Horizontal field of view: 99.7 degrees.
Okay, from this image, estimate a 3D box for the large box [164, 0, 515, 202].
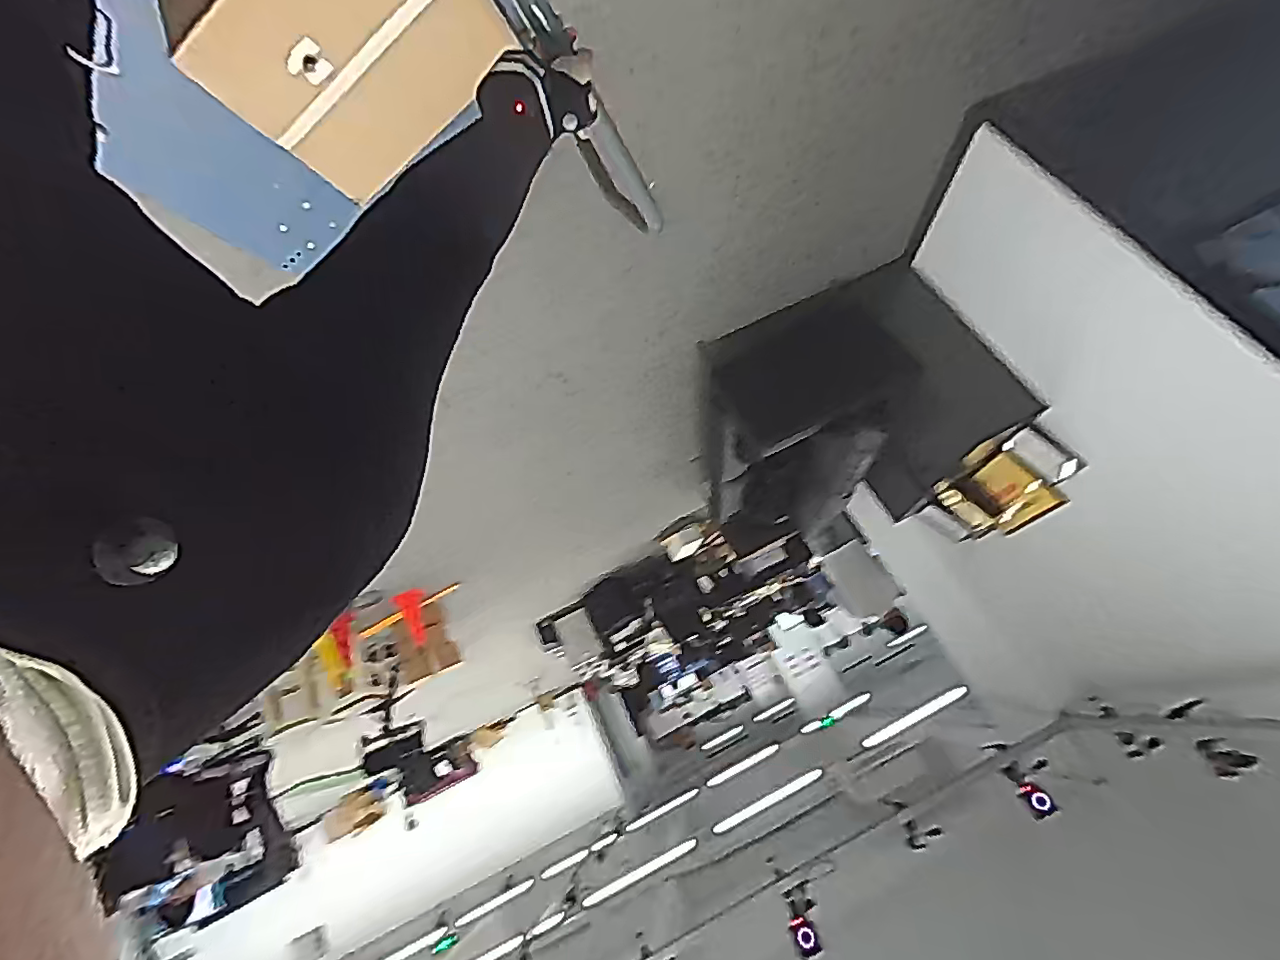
[{"bbox_3d":[-0.491,-0.780,0.890,0.408,0.320,0.320,-33,157,14],"label":"large box"}]
